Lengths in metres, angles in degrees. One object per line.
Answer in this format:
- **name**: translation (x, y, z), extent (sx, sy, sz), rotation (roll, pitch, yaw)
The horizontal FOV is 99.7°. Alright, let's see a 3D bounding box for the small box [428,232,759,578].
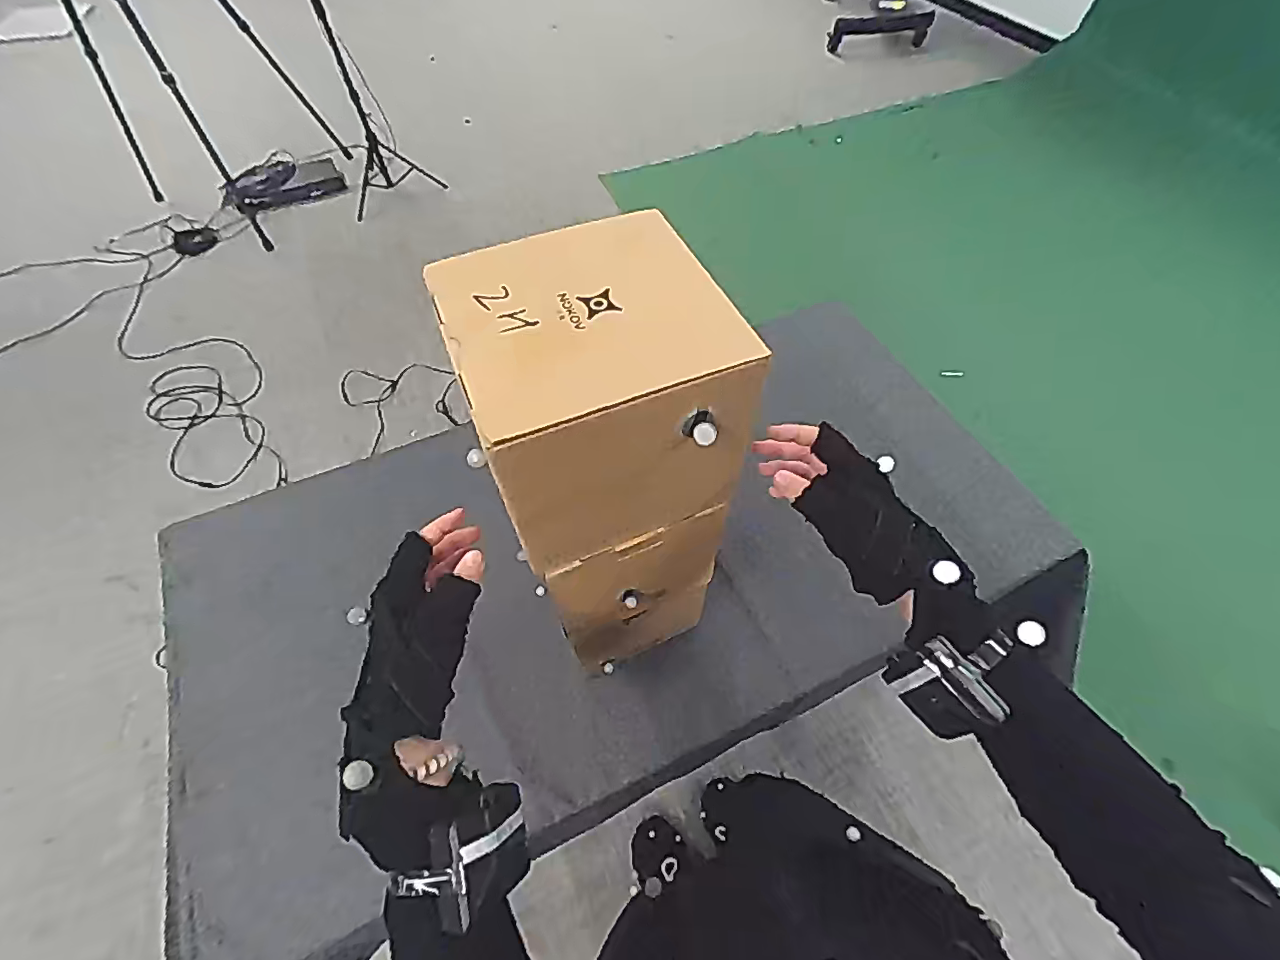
- **small box**: translation (-0.036, -0.052, 0.415), extent (0.179, 0.176, 0.168), rotation (-20, 58, -12)

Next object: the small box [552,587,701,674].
- **small box**: translation (-0.036, 0.127, 0.688), extent (0.168, 0.176, 0.179), rotation (-22, 58, -13)

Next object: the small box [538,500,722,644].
- **small box**: translation (-0.037, 0.038, 0.553), extent (0.168, 0.176, 0.179), rotation (-21, 59, -13)
